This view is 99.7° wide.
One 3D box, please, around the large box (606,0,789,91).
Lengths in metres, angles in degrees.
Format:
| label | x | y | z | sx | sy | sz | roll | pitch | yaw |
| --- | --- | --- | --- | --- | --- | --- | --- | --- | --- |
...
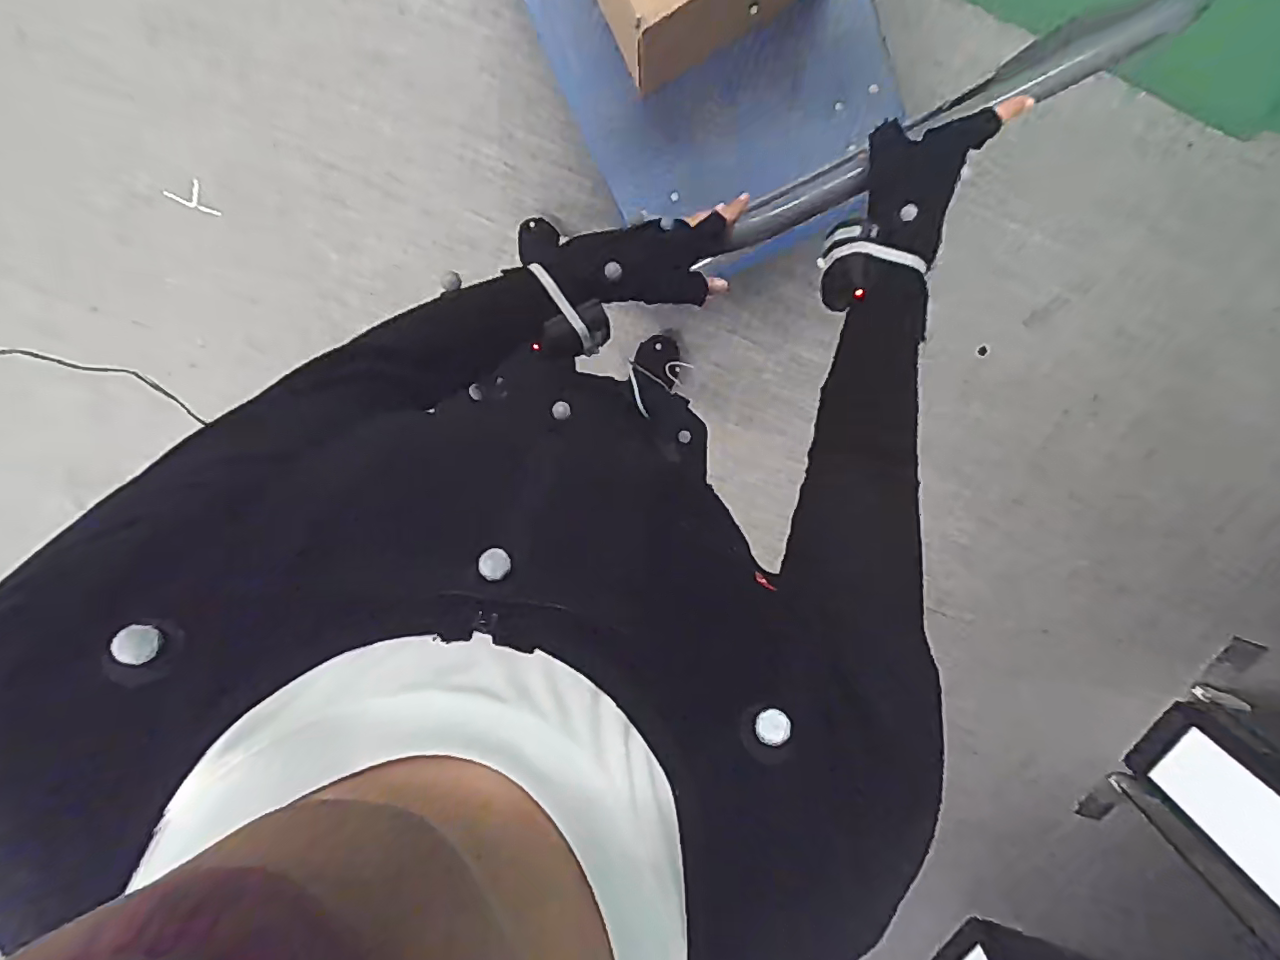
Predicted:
| label | x | y | z | sx | sy | sz | roll | pitch | yaw |
| --- | --- | --- | --- | --- | --- | --- | --- | --- | --- |
| large box | 0.116 | -0.907 | 0.829 | 0.408 | 0.320 | 0.320 | -27 | 108 | 11 |
